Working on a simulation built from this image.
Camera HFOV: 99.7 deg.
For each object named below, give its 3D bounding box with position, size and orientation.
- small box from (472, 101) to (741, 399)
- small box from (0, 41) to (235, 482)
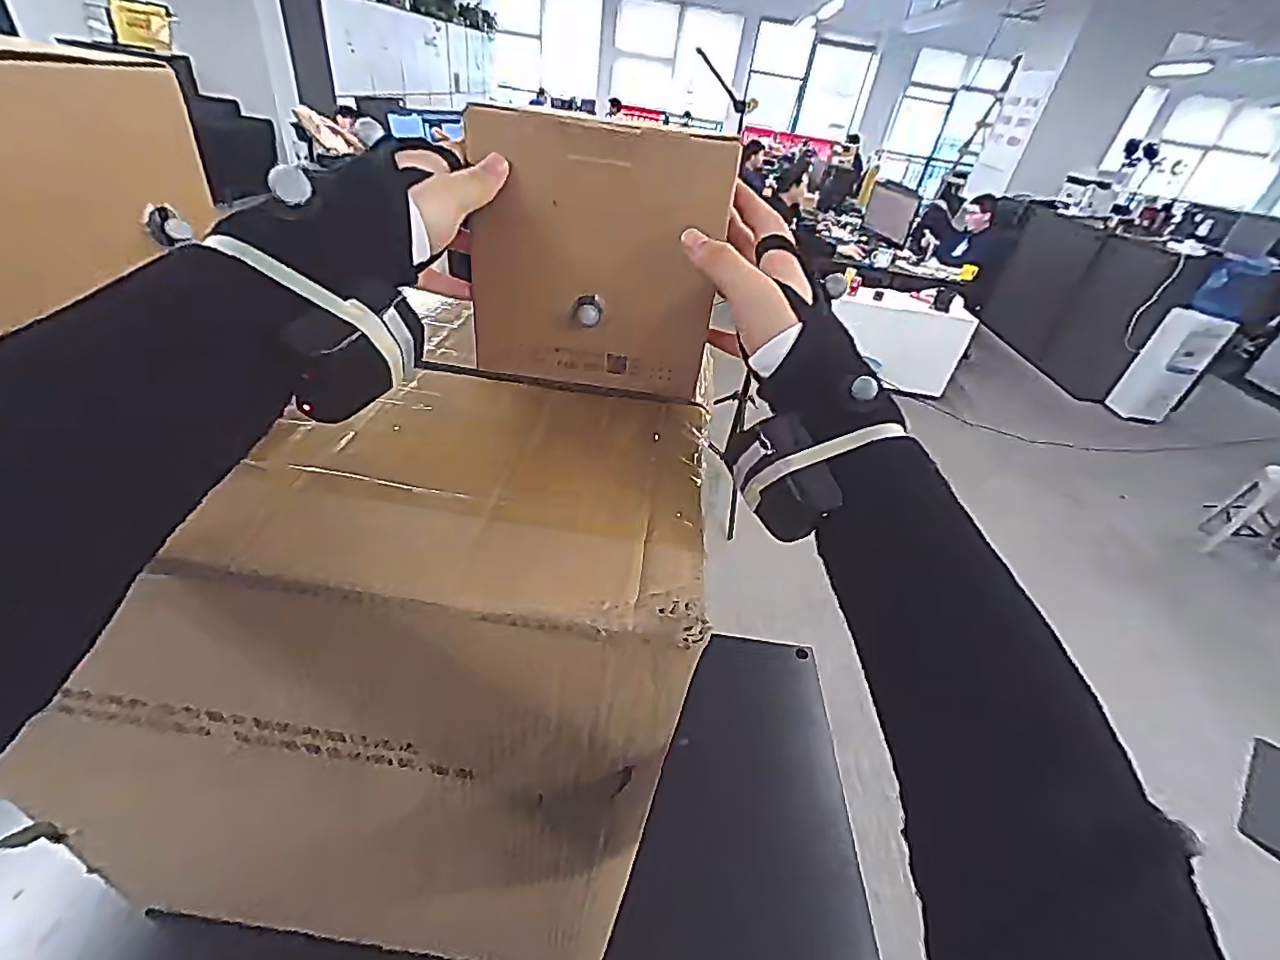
[{"bbox_3d":[-0.024,-0.183,0.429,0.168,0.176,0.179,7,33,0],"label":"small box"},{"bbox_3d":[-0.353,-0.123,0.277,0.168,0.176,0.179,8,36,-1],"label":"small box"}]
